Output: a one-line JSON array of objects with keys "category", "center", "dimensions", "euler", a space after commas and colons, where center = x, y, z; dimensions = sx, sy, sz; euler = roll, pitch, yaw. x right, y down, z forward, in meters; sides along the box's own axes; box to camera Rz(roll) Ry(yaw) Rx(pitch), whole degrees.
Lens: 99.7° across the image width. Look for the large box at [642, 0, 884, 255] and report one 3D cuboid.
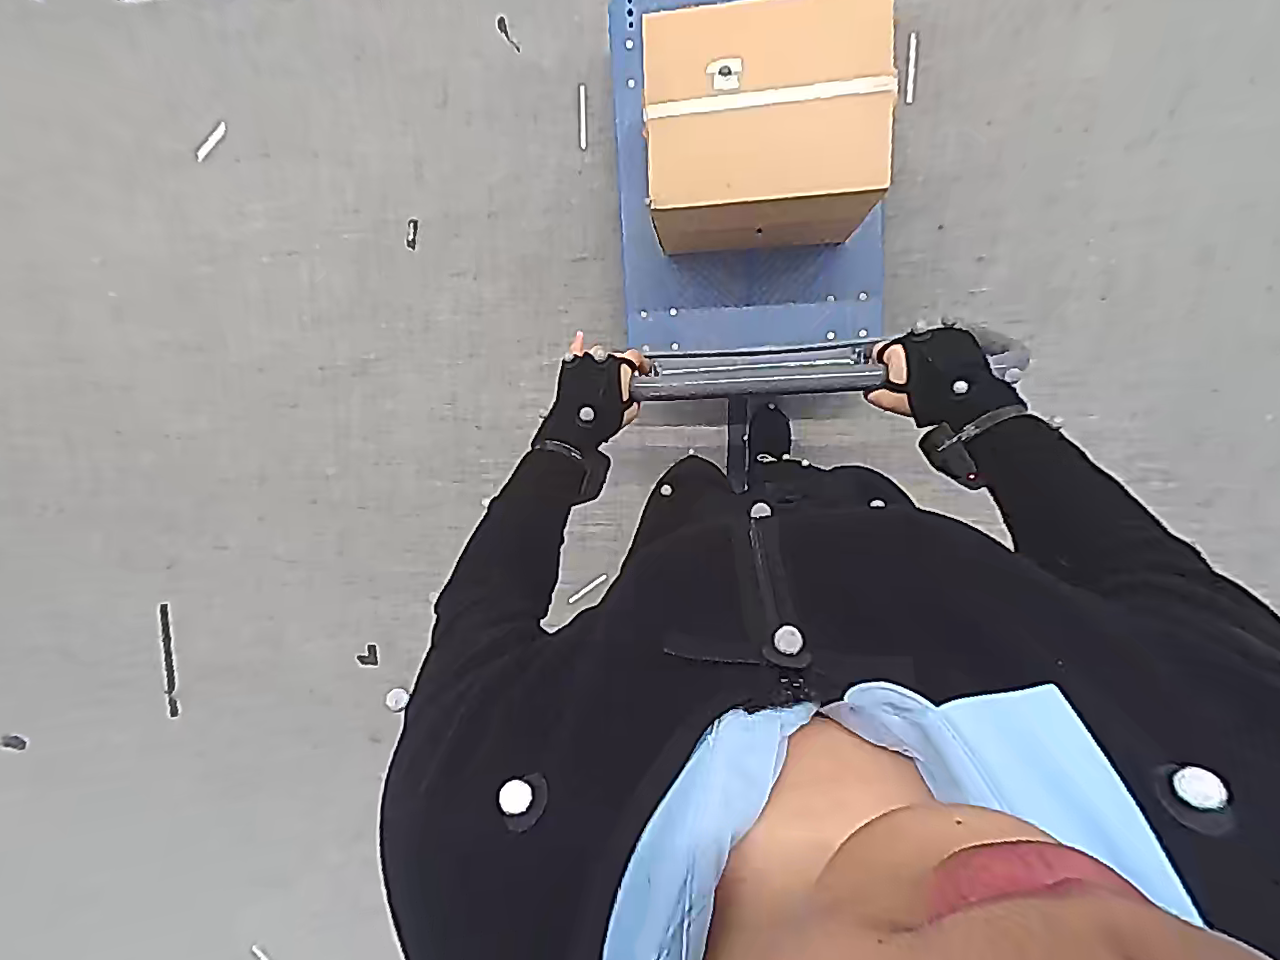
[{"category": "large box", "center": [0.231, -0.659, 1.070], "dimensions": [0.408, 0.320, 0.320], "euler": [-2, 97, 9]}]
